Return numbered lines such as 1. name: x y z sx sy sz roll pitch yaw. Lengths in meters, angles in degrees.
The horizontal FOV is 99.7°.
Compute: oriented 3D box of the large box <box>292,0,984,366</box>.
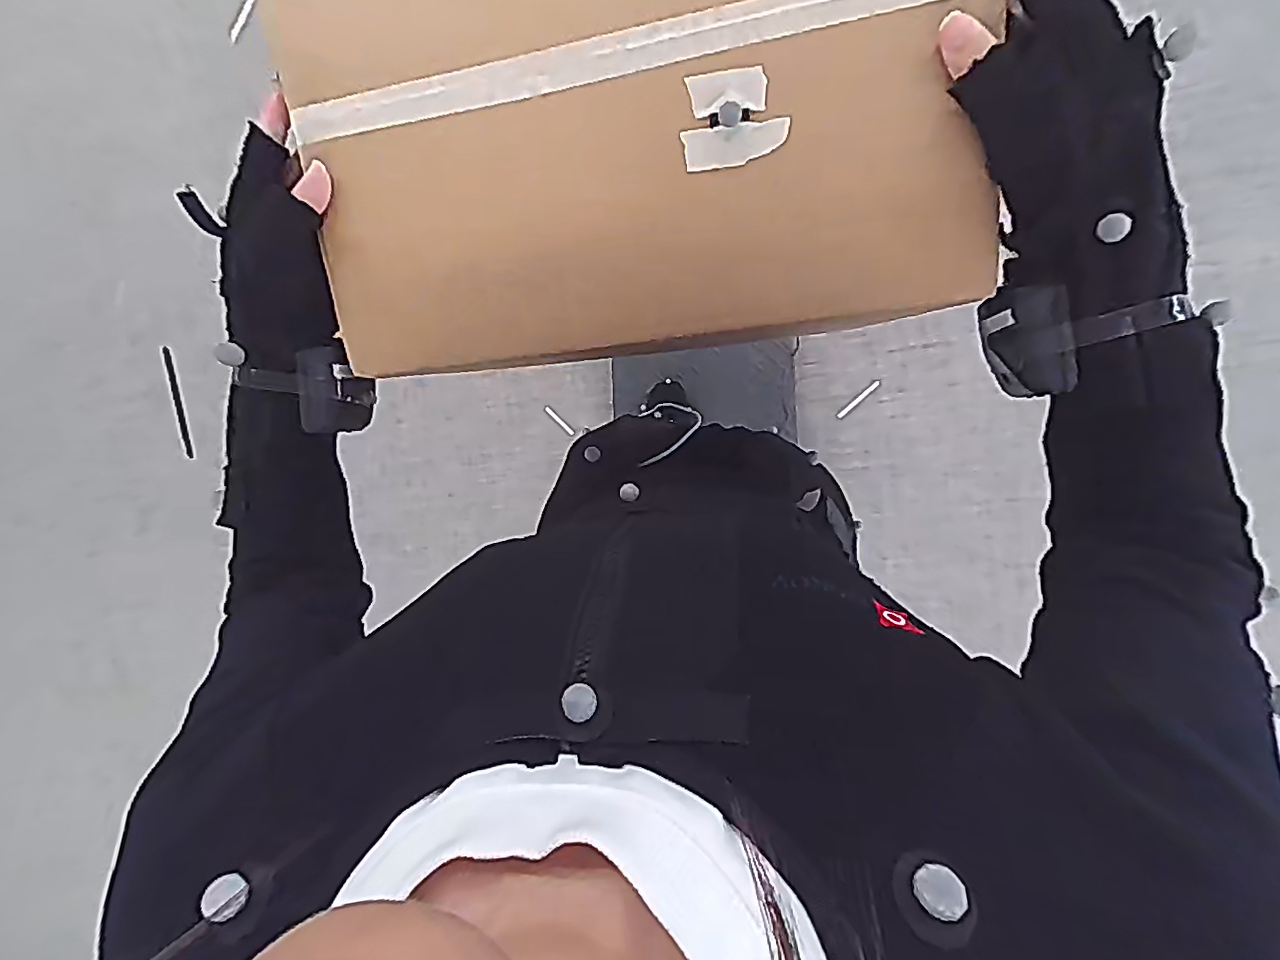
1. large box: 0.006 -0.281 0.461 0.408 0.320 0.320 -5 103 10
